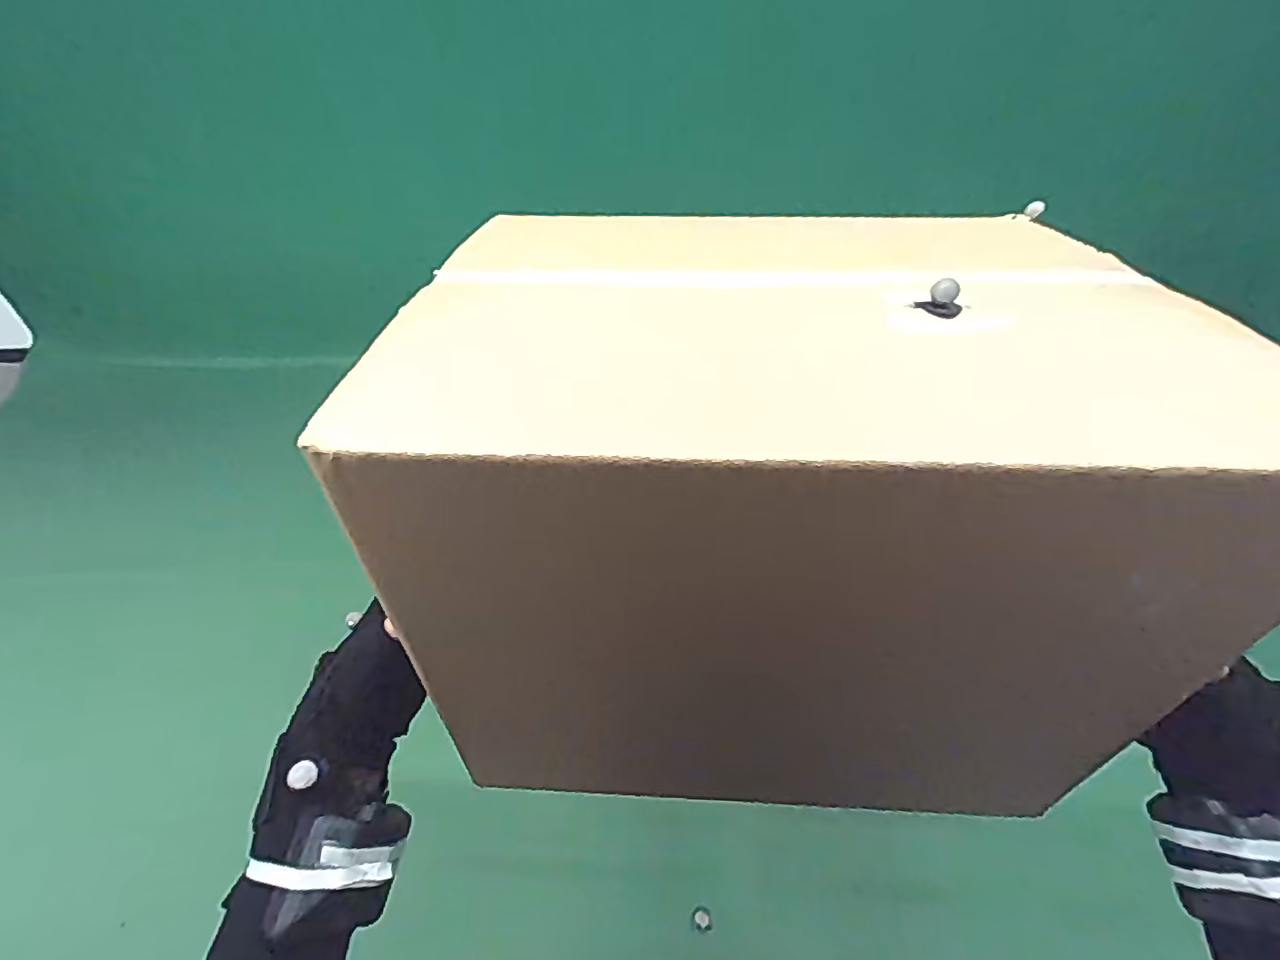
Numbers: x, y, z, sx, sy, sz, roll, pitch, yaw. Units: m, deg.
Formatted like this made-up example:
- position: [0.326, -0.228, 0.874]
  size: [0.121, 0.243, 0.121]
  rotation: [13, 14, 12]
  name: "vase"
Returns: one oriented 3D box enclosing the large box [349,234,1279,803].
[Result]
- position: [0.087, 0.015, 0.412]
  size: [0.408, 0.320, 0.320]
  rotation: [2, 40, 3]
  name: "large box"
